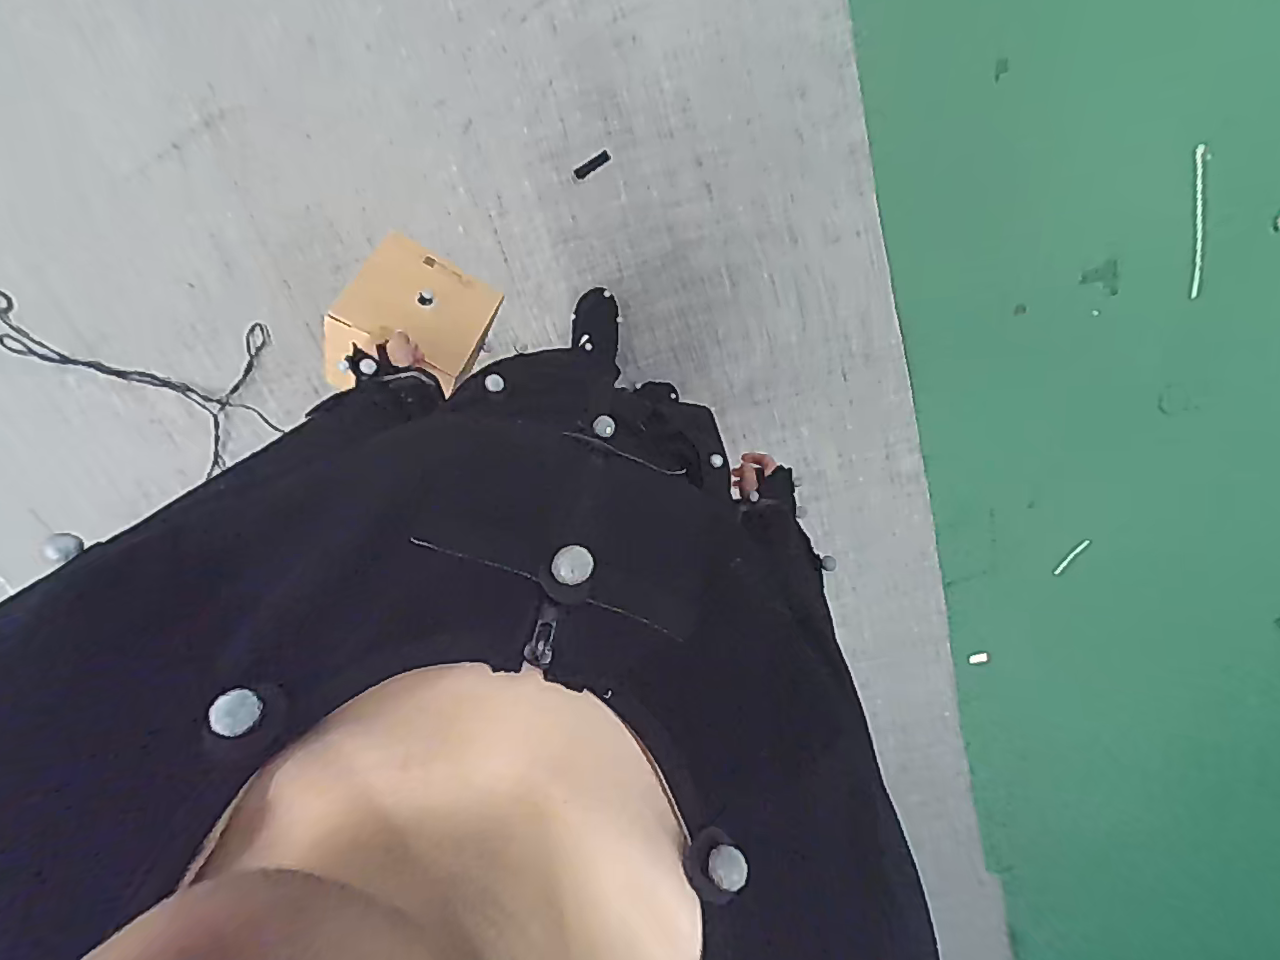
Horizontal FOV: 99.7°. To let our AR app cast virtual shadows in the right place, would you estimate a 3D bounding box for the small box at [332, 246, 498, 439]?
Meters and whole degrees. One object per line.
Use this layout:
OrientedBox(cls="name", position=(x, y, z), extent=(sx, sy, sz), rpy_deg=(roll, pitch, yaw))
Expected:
OrientedBox(cls="small box", position=(-0.320, -0.195, 0.780), extent=(0.168, 0.176, 0.179), rpy_deg=(25, 149, -17))
